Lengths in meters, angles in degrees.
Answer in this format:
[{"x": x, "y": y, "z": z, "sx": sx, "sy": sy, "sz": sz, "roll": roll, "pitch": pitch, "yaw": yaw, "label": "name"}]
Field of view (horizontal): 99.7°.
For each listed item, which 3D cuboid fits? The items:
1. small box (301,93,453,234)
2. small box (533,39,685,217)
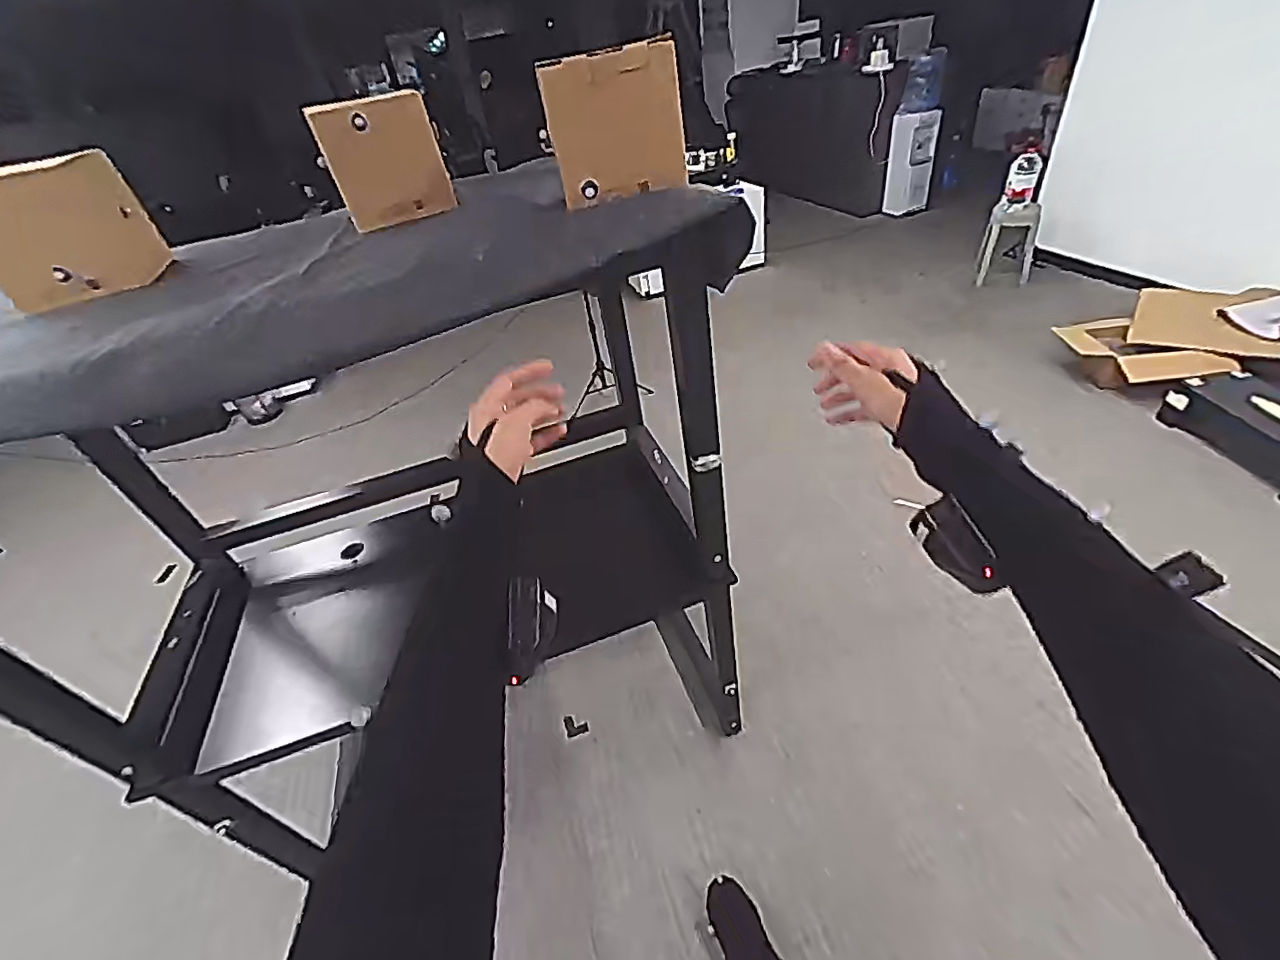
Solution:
[{"x": -0.432, "y": -0.522, "z": 0.895, "sx": 0.168, "sy": 0.176, "sz": 0.179, "roll": -25, "pitch": 41, "yaw": -16, "label": "small box"}, {"x": -0.042, "y": -0.472, "z": 0.735, "sx": 0.168, "sy": 0.176, "sz": 0.179, "roll": -13, "pitch": 37, "yaw": -2, "label": "small box"}]
